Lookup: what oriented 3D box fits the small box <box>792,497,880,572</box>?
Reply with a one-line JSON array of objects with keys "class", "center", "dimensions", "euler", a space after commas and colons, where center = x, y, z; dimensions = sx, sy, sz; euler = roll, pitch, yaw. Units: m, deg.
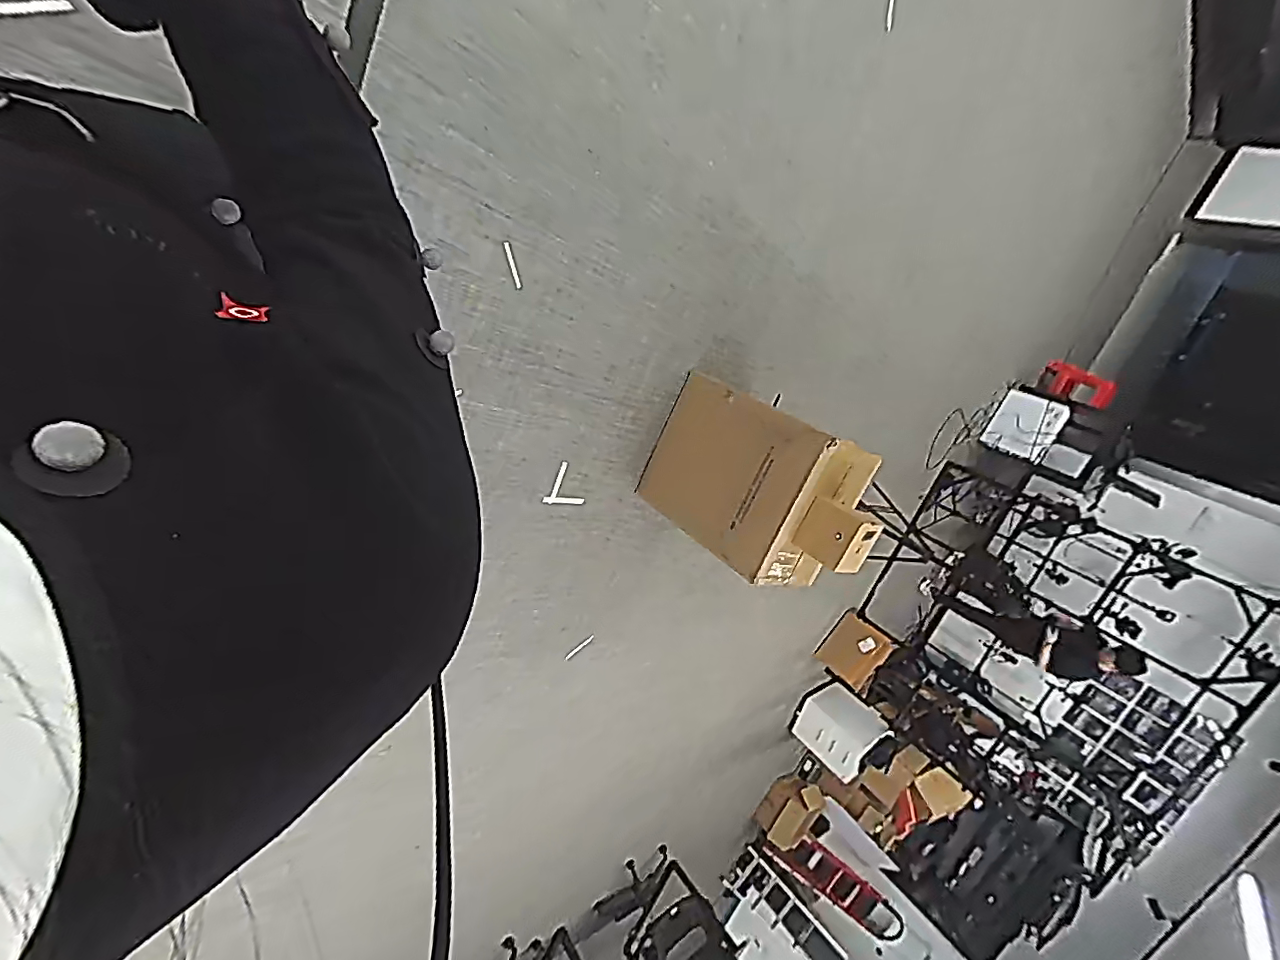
[{"class": "small box", "center": [0.608, 0.169, 1.695], "dimensions": [0.168, 0.176, 0.179], "euler": [11, 109, -45]}]
